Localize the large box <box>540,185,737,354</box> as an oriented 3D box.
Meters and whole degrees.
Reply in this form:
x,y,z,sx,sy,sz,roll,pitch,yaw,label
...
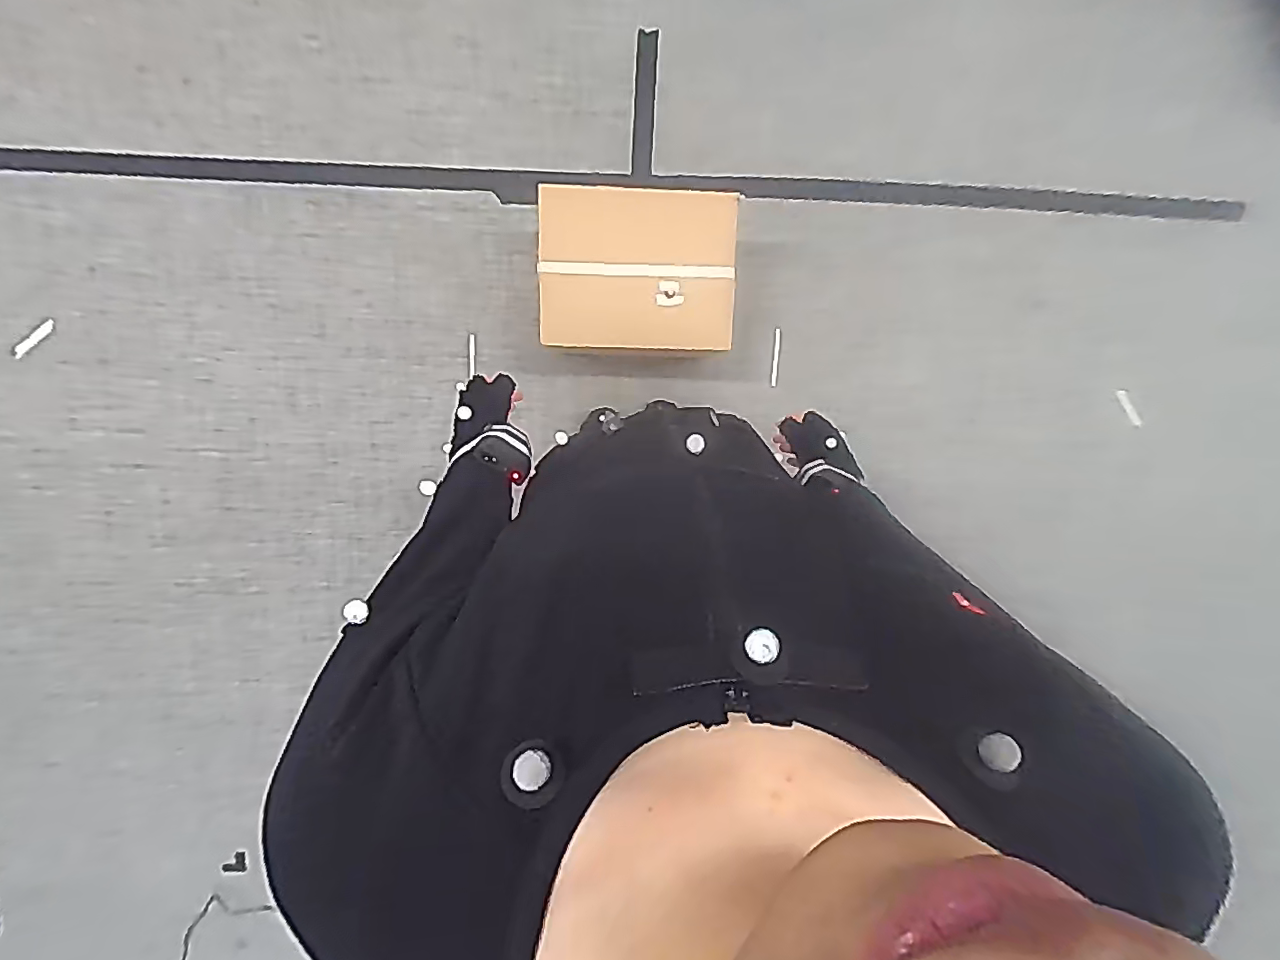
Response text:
x,y,z,sx,sy,sz,roll,pitch,yaw,label
-0.013,-0.459,1.255,0.408,0.320,0.320,0,101,-4,large box
